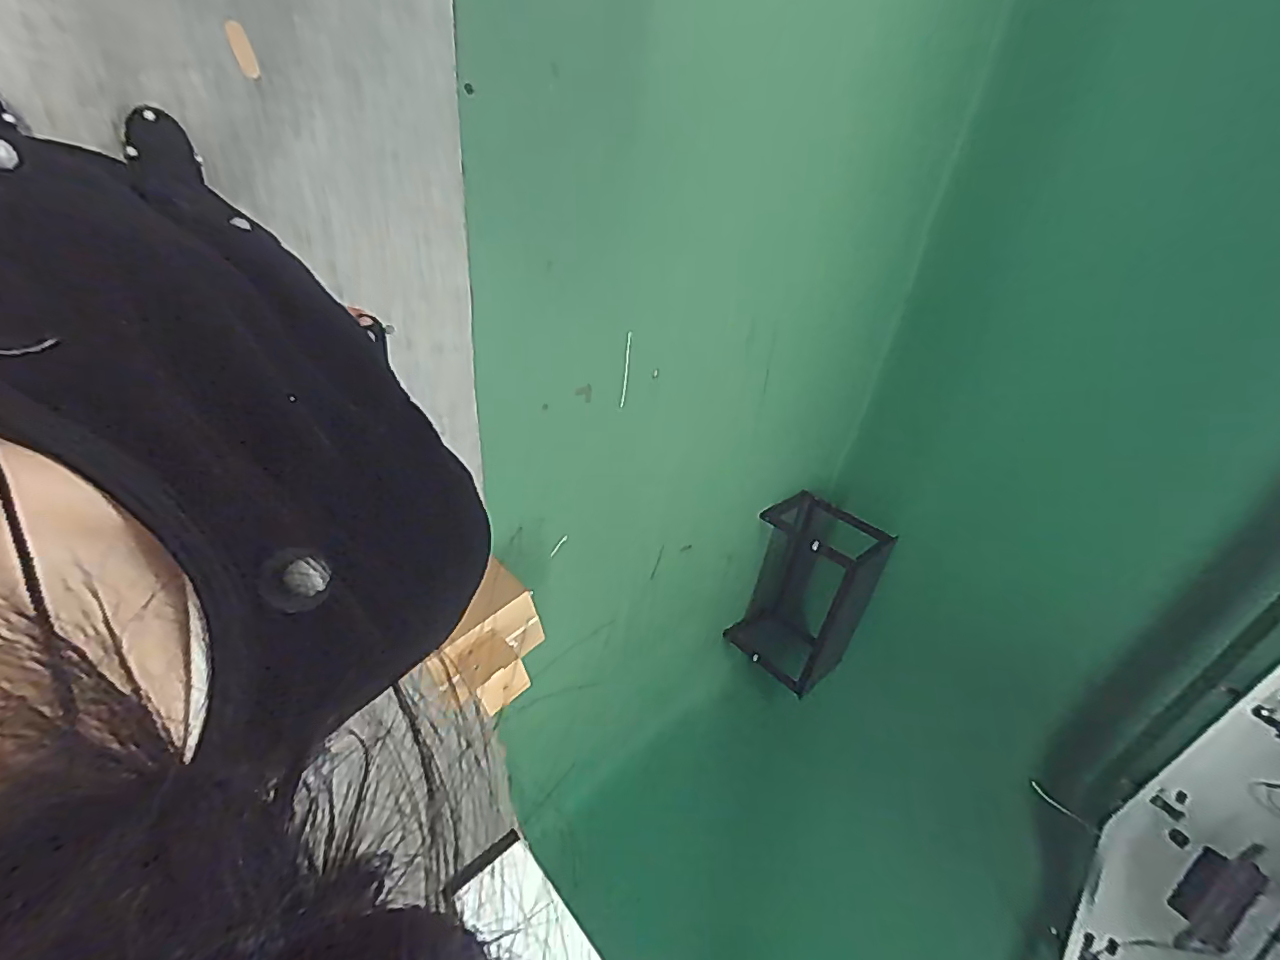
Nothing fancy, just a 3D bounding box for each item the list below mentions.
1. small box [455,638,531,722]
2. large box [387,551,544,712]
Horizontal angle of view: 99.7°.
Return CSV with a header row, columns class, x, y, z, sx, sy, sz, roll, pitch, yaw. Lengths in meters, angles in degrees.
class,x,y,z,sx,sy,sz,roll,pitch,yaw
small box,-0.493,0.659,1.809,0.168,0.176,0.179,-33,137,-29
large box,-0.629,0.542,1.983,0.408,0.320,0.320,-35,140,-29
